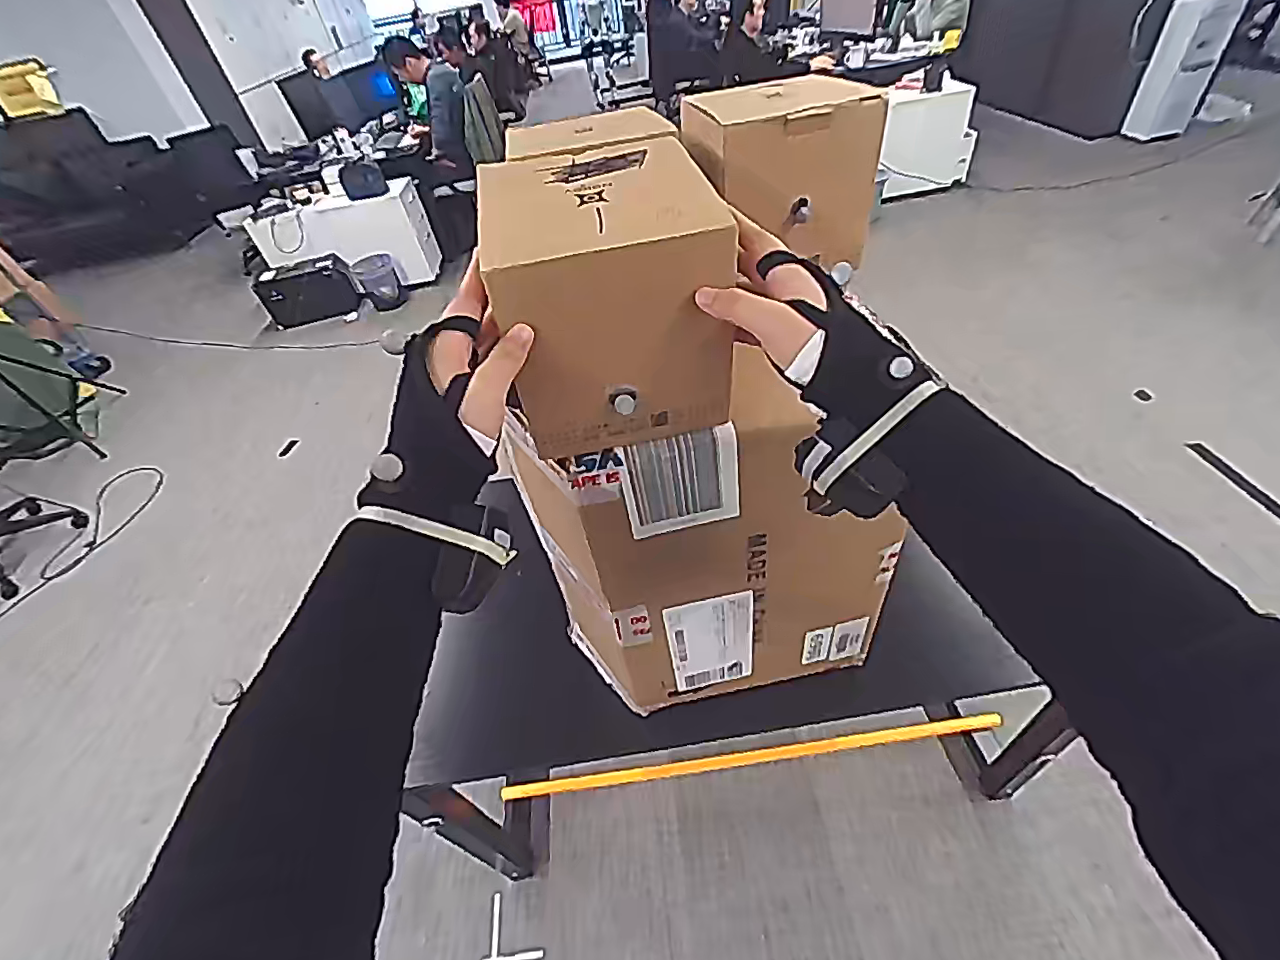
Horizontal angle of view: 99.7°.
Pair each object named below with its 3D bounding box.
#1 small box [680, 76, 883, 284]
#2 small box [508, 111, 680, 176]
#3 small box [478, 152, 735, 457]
[{"bbox_3d":[0.148,-0.339,0.622,0.168,0.176,0.179,-11,44,-3],"label":"small box"},{"bbox_3d":[-0.048,-0.302,0.620,0.168,0.176,0.179,-13,43,-3],"label":"small box"},{"bbox_3d":[-0.027,-0.146,0.451,0.168,0.176,0.179,-12,47,-3],"label":"small box"}]
